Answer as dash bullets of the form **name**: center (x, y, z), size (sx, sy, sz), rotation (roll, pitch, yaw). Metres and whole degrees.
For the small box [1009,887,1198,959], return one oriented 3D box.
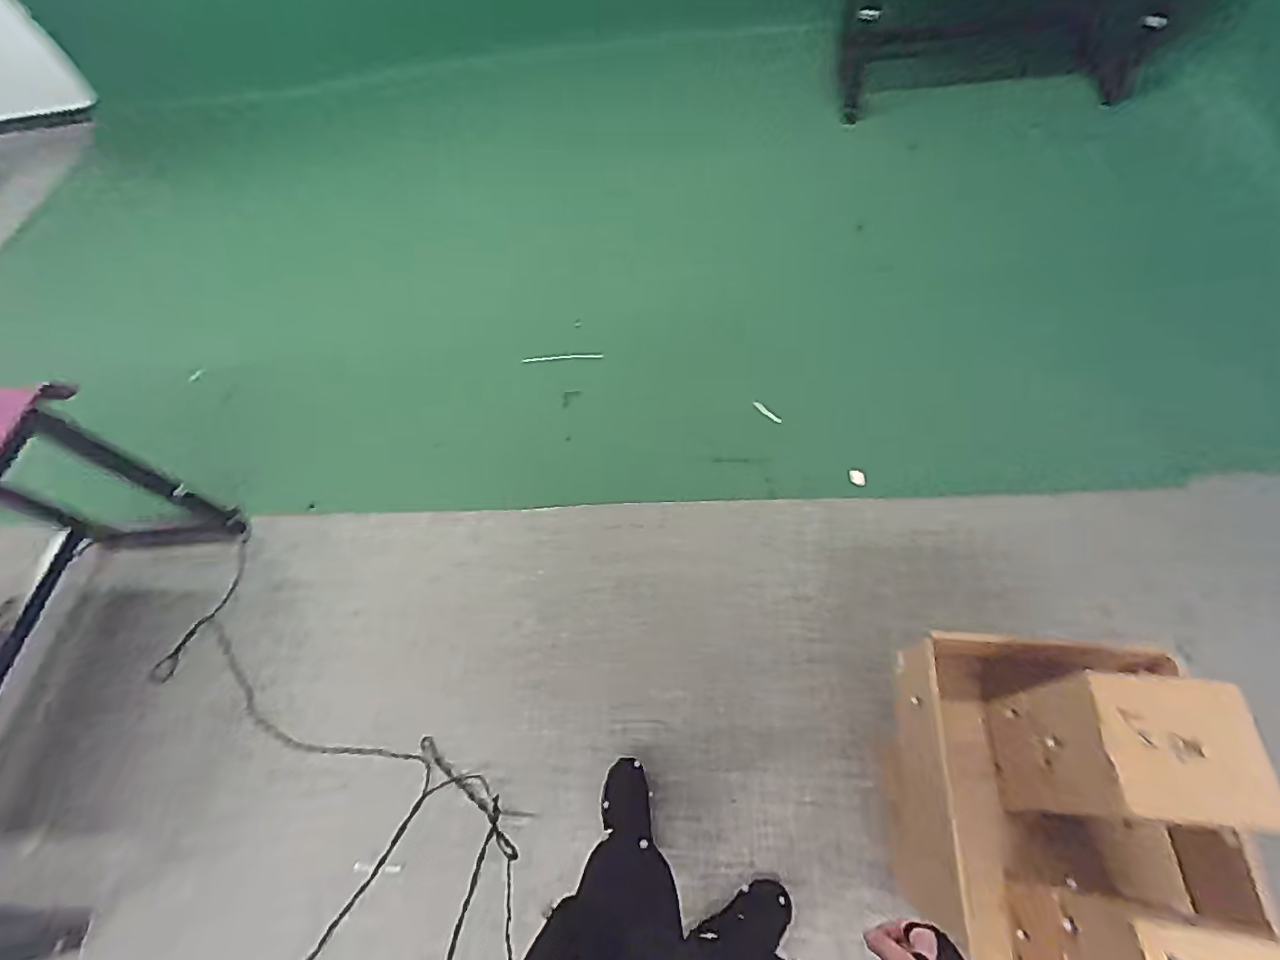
- **small box**: center (0.649, 0.682, 0.740), size (0.179, 0.176, 0.168), rotation (3, 61, 11)

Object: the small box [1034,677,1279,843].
- **small box**: center (0.678, 0.370, 0.722), size (0.179, 0.176, 0.168), rotation (2, 60, 9)

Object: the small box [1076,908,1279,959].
- **small box**: center (0.628, 0.602, 0.598), size (0.179, 0.176, 0.168), rotation (4, 61, 11)
